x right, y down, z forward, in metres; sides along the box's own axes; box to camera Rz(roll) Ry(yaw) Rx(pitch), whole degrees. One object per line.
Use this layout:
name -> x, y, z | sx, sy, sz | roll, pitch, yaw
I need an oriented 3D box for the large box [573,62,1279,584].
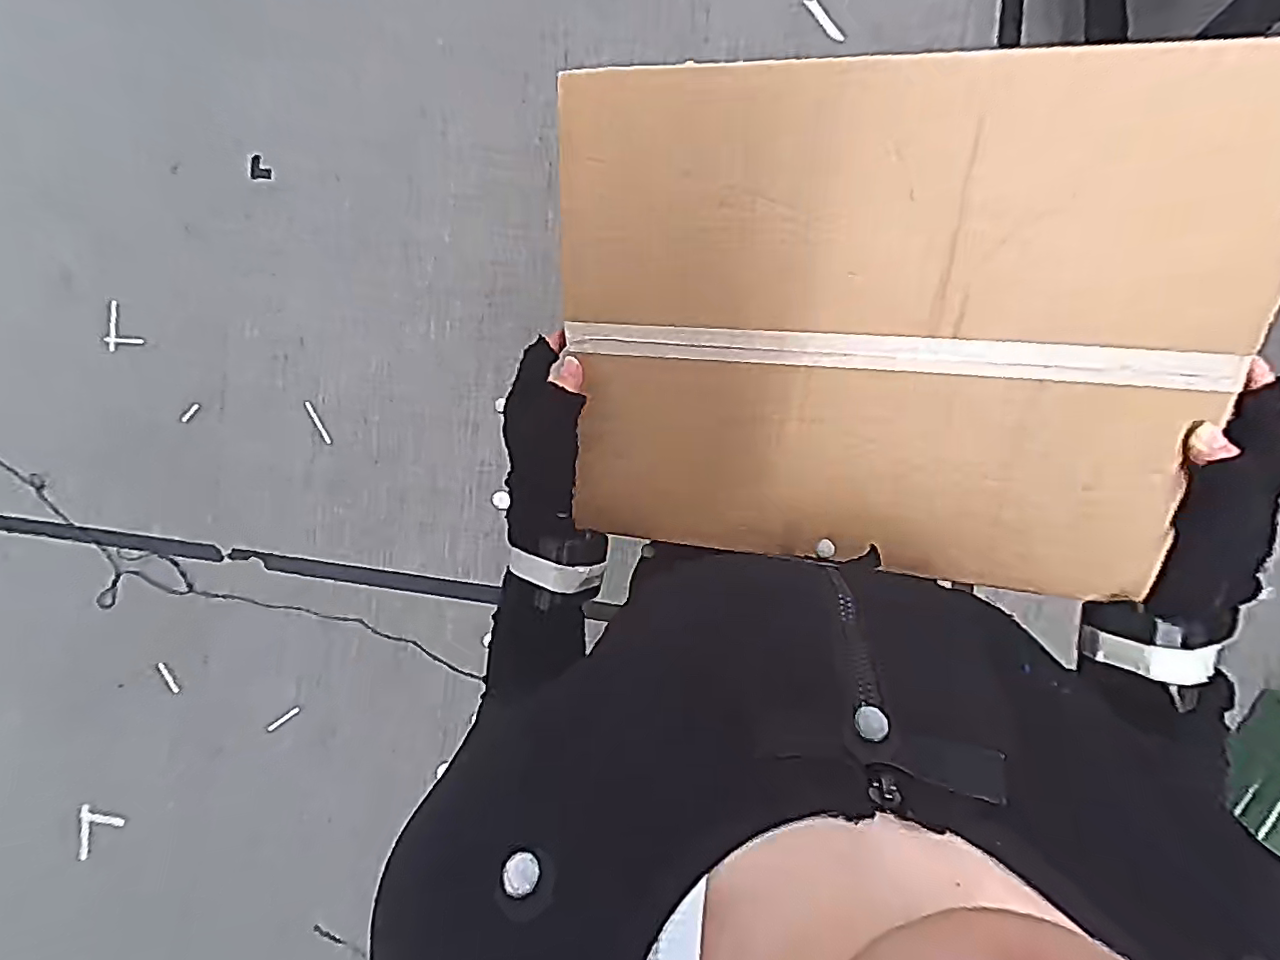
large box -> 0.179, -0.140, 0.497 | 0.408, 0.320, 0.320 | 7, 114, 11
